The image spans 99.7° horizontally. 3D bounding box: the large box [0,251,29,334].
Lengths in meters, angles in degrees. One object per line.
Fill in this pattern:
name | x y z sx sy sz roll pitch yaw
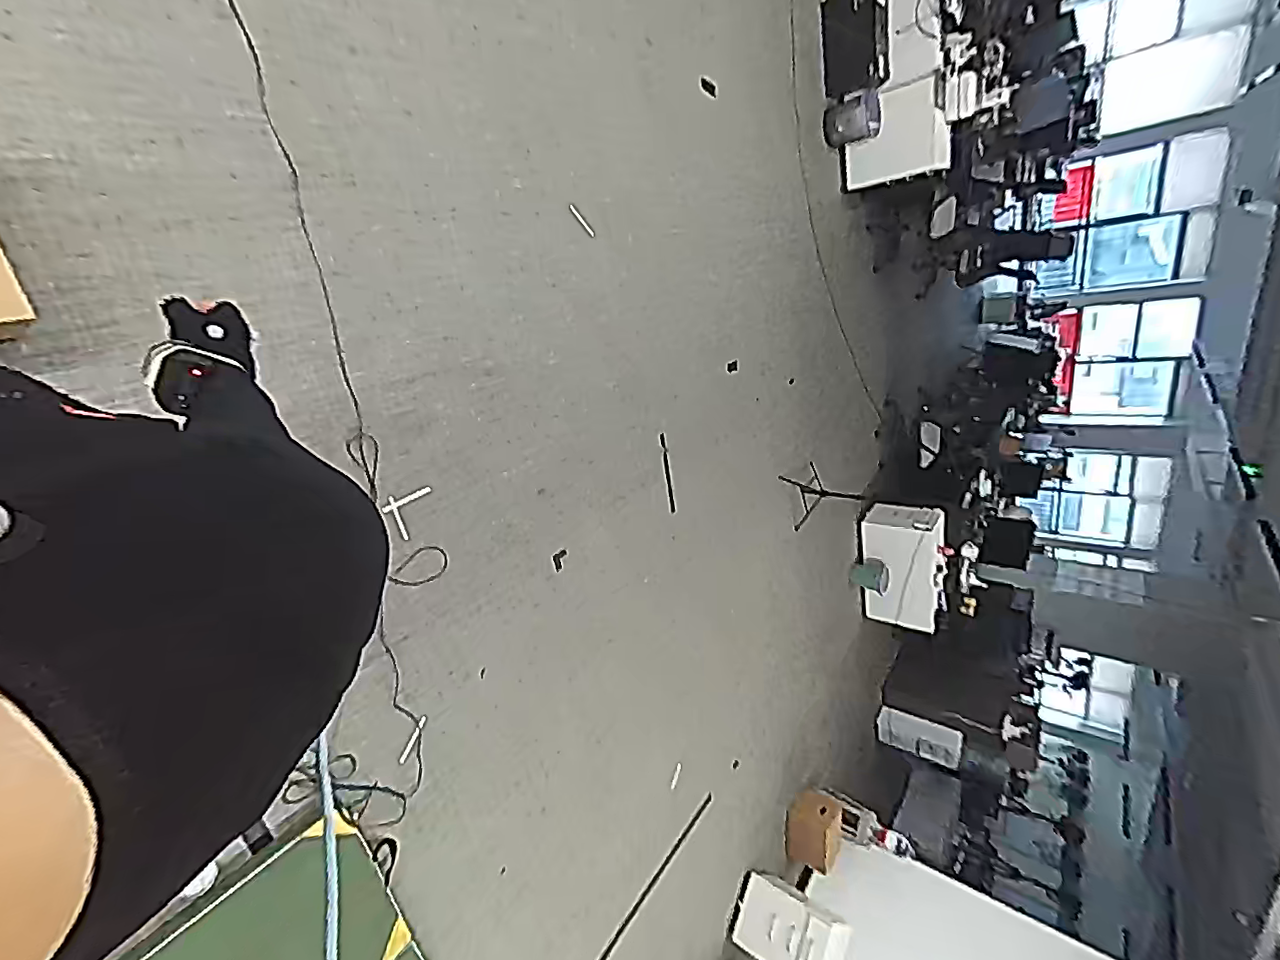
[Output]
large box | -1.182 -0.330 0.720 0.408 0.320 0.320 -32 119 -45
